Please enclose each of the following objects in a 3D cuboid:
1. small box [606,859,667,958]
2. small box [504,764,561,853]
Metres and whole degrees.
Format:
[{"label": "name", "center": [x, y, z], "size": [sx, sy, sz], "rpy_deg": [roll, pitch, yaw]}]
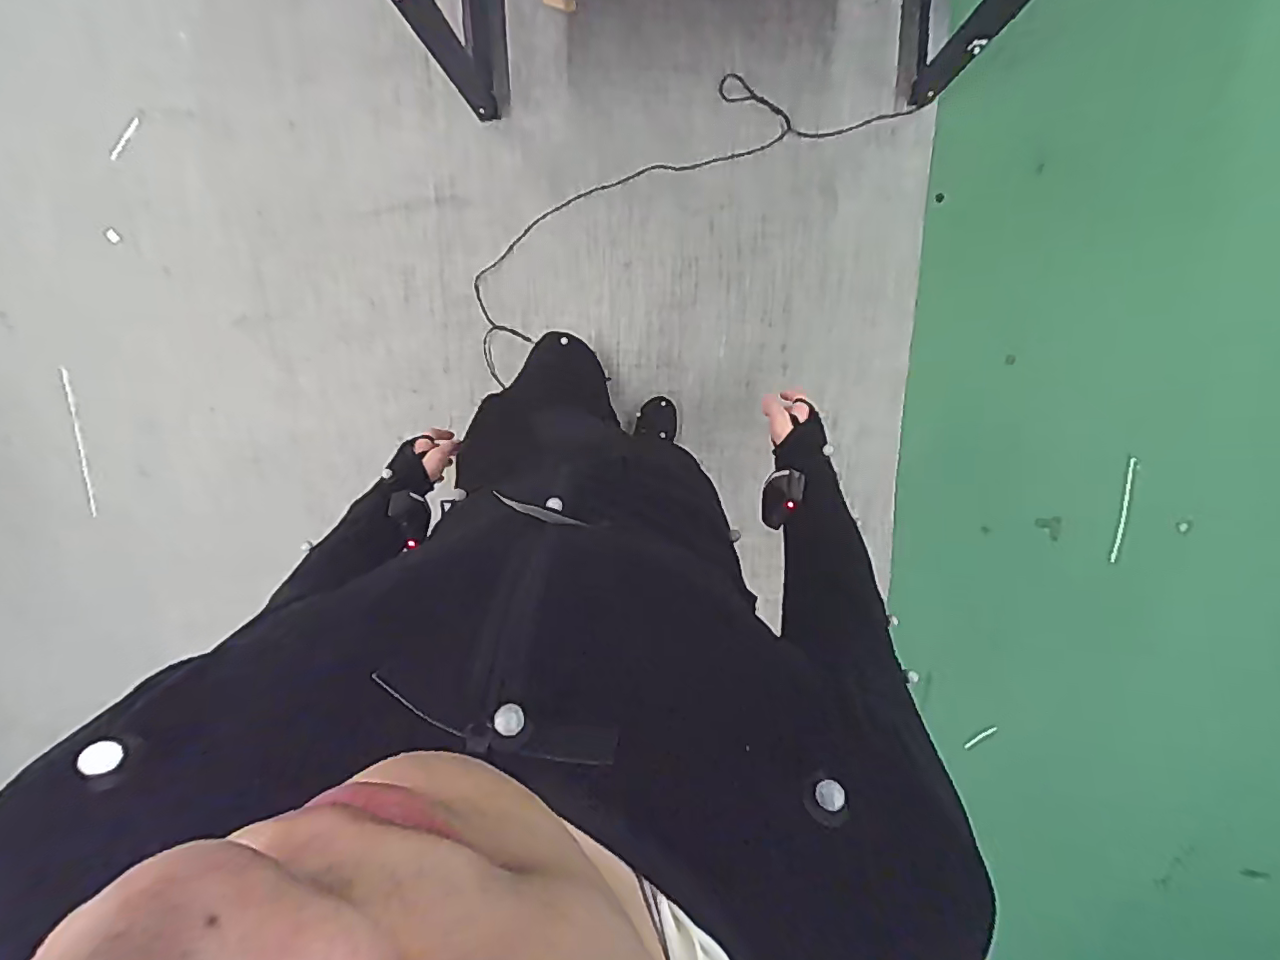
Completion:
[{"label": "small box", "center": [-0.006, 1.268, 1.609], "size": [0.168, 0.176, 0.179], "rpy_deg": [-3, 102, 5]}, {"label": "small box", "center": [-0.355, 1.056, 1.750], "size": [0.168, 0.176, 0.179], "rpy_deg": [7, 102, 1]}]
